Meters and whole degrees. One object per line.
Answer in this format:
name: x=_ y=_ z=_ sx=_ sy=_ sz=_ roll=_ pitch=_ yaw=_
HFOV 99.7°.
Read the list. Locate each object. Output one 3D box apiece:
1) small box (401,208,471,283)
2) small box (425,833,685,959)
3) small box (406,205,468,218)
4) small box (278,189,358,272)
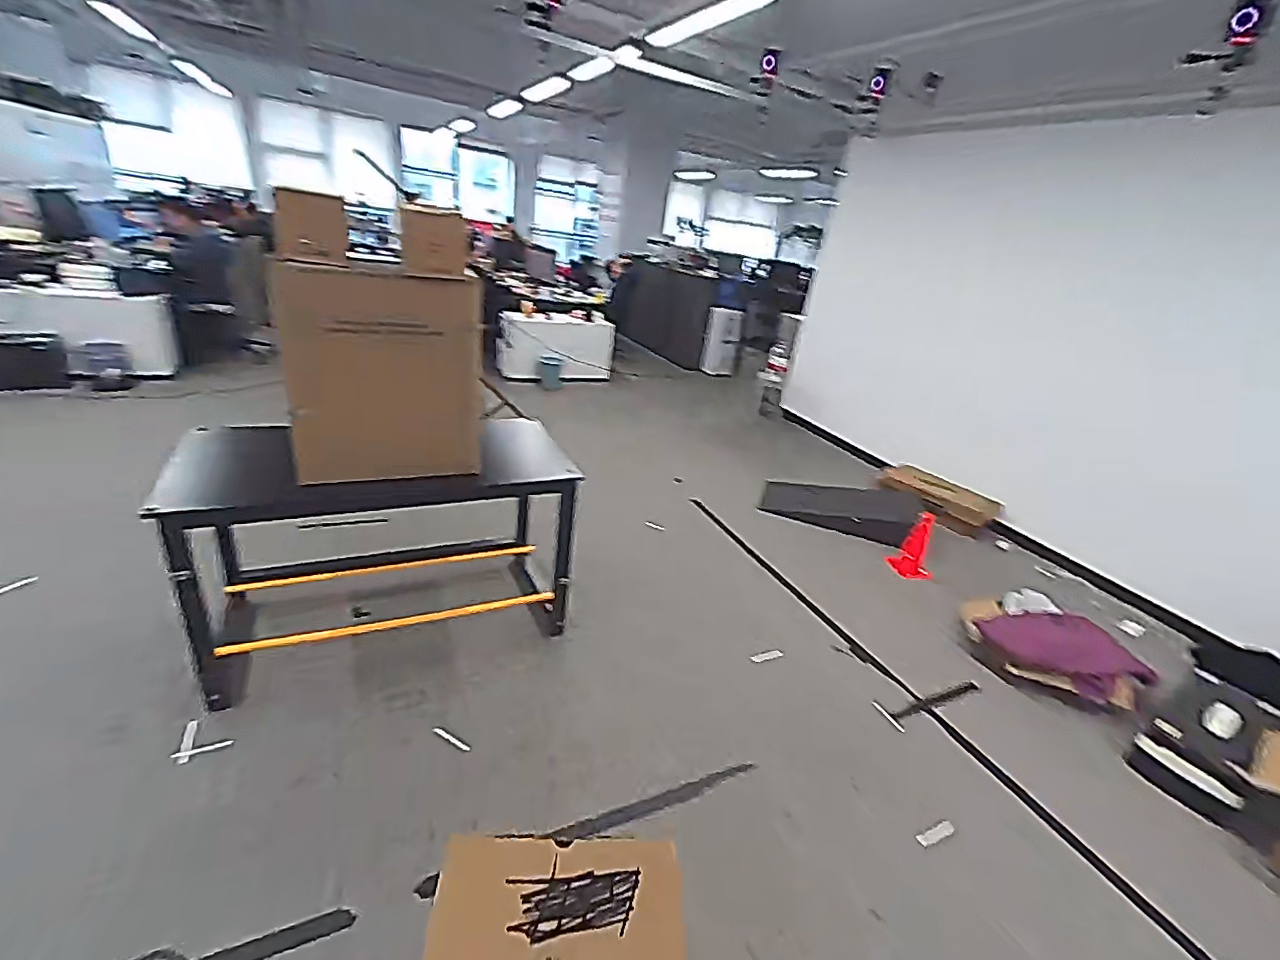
small box: x=-0.574 y=-0.657 z=1.520 sx=0.168 sy=0.176 sz=0.179 roll=-6 pitch=31 yaw=-26
small box: x=-0.060 y=0.376 z=0.369 sx=0.168 sy=0.176 sz=0.179 roll=3 pitch=33 yaw=-6
small box: x=-0.645 y=-0.768 z=1.719 sx=0.168 sy=0.176 sz=0.179 roll=-7 pitch=26 yaw=-26
small box: x=-0.848 y=-0.660 z=1.434 sx=0.168 sy=0.176 sz=0.179 roll=-4 pitch=29 yaw=-27
